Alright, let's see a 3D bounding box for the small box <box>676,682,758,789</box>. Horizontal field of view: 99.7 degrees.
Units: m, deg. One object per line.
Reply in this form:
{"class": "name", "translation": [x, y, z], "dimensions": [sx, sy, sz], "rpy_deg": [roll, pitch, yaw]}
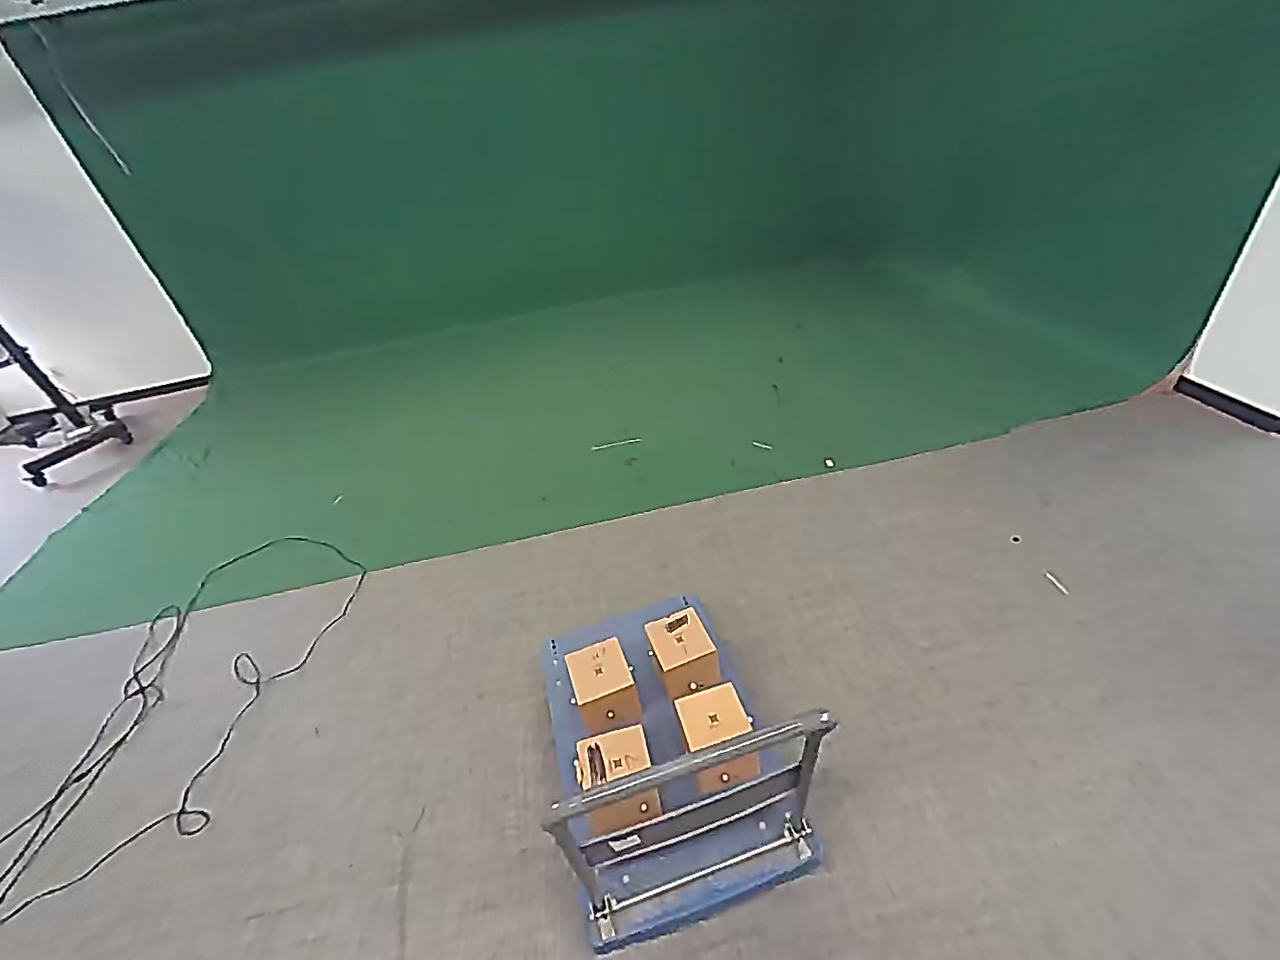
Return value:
{"class": "small box", "translation": [0.201, 0.674, 1.429], "dimensions": [0.168, 0.176, 0.179], "rpy_deg": [-15, 38, -7]}

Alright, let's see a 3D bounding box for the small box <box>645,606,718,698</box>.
{"class": "small box", "translation": [0.127, 0.522, 1.640], "dimensions": [0.168, 0.176, 0.179], "rpy_deg": [-19, 39, -10]}

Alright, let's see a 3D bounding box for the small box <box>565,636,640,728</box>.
{"class": "small box", "translation": [-0.108, 0.599, 1.592], "dimensions": [0.168, 0.176, 0.179], "rpy_deg": [-17, 38, -11]}
